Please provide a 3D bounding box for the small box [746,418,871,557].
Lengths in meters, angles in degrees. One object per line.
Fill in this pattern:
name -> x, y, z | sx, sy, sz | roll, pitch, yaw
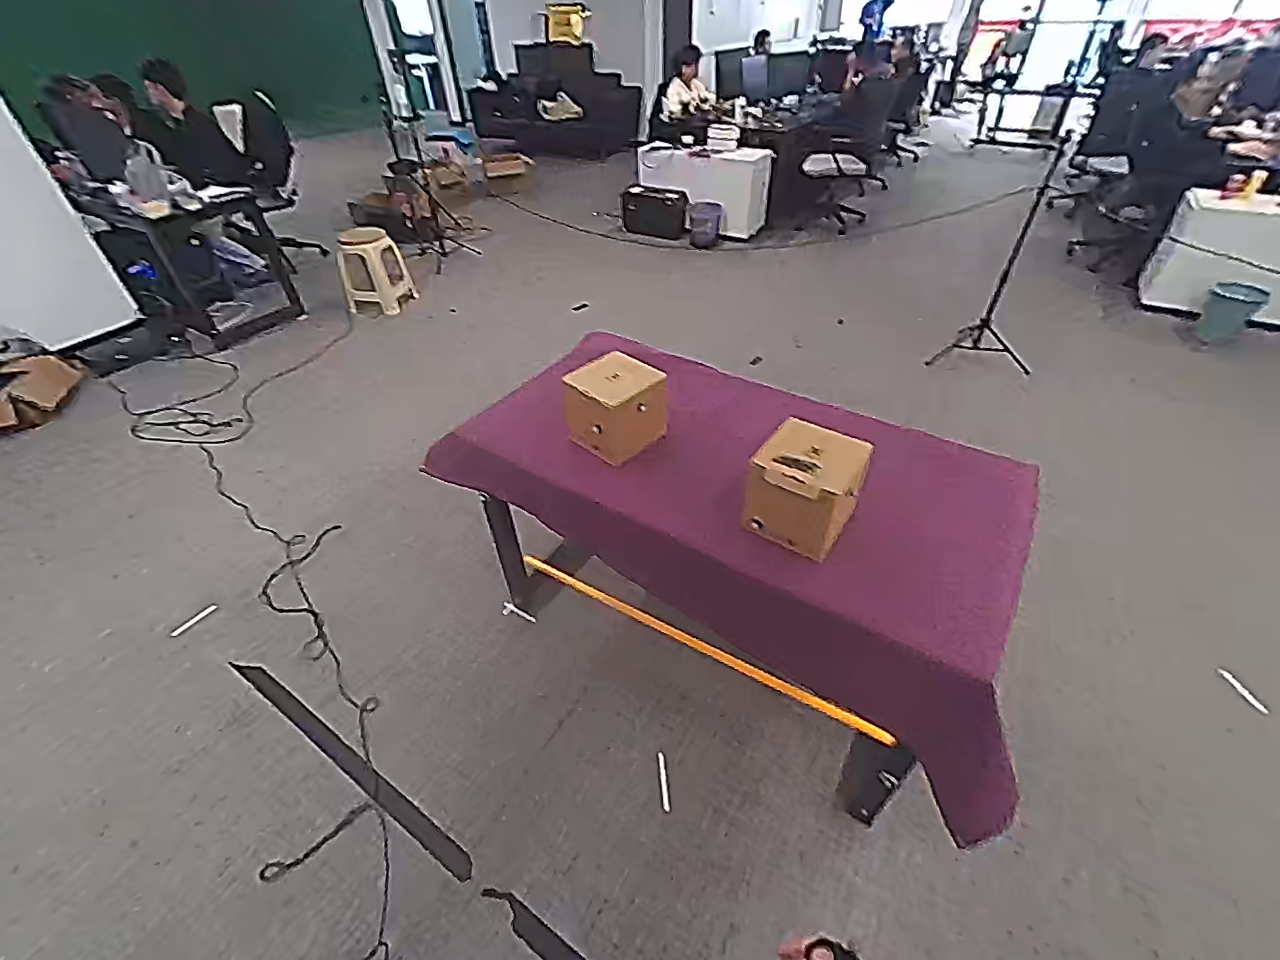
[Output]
small box -> 0.313, 0.015, 1.029 | 0.168, 0.176, 0.179 | 25, 47, 27

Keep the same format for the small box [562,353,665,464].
small box -> -0.055, -0.164, 1.249 | 0.168, 0.176, 0.179 | 33, 52, 32
